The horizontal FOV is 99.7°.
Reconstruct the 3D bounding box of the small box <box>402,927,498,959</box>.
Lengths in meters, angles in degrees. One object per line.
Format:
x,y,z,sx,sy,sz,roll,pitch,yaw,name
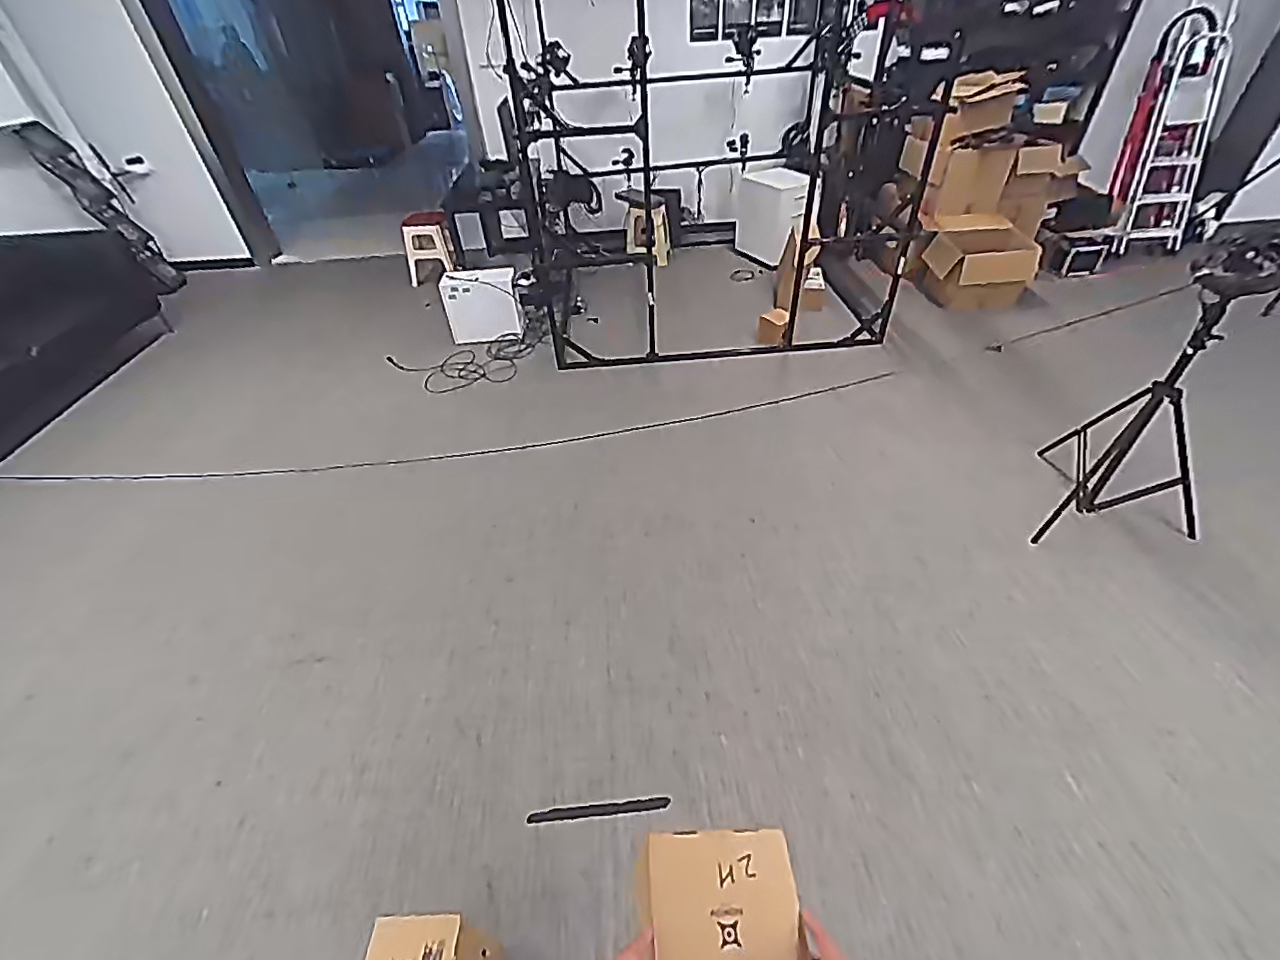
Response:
-0.417,1.096,1.168,0.168,0.176,0.179,-4,41,1,small box

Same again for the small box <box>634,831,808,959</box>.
0.084,0.530,0.625,0.168,0.176,0.179,2,43,-7,small box
